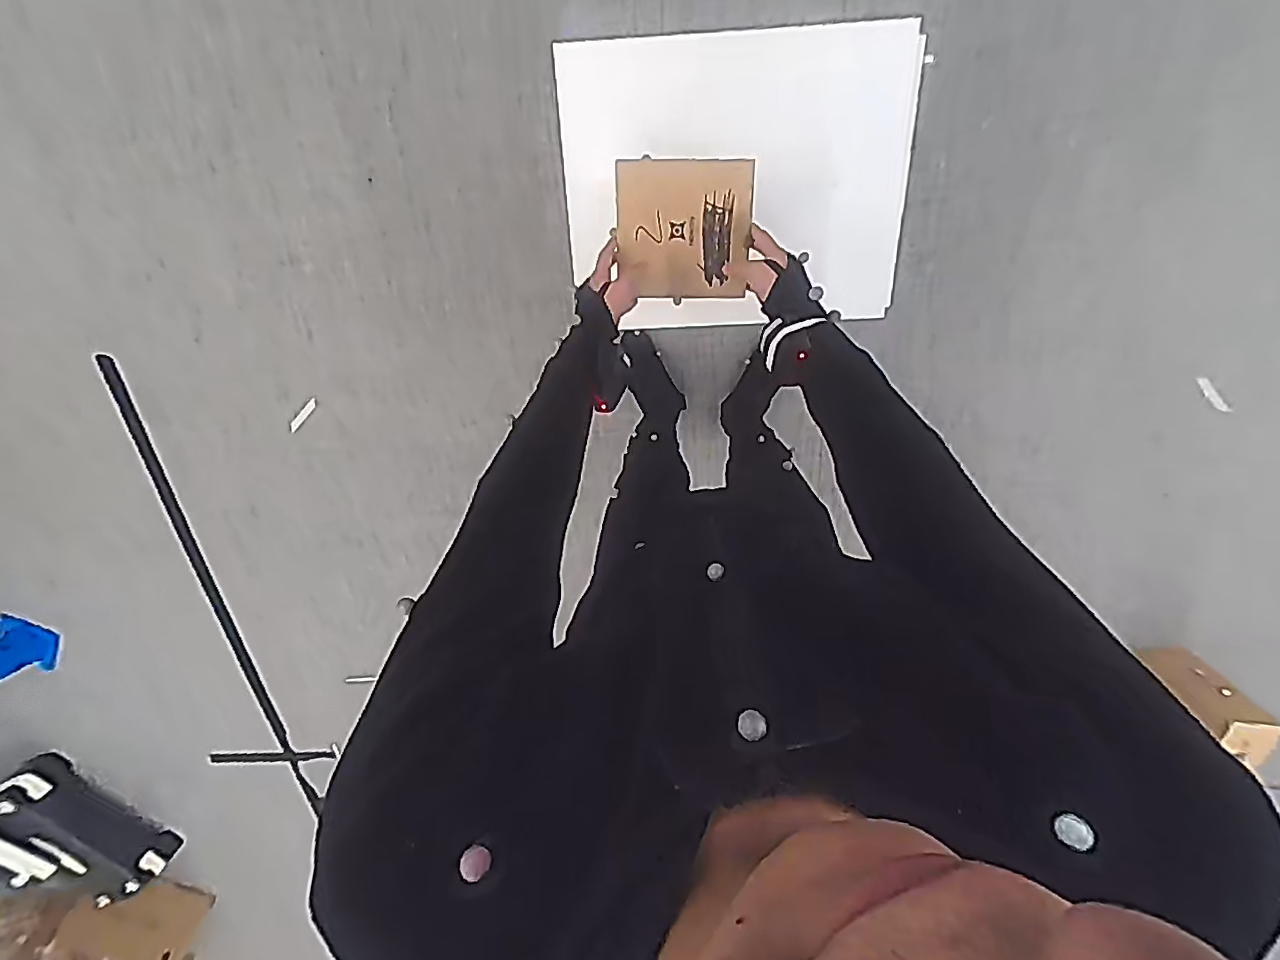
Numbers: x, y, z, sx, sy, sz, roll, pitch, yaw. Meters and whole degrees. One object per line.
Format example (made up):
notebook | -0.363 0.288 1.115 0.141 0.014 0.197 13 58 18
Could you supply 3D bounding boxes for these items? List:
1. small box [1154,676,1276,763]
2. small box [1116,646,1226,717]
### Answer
small box | 1.778 0.744 1.687 0.168 0.176 0.179 5 113 -1
small box | 1.795 0.683 1.840 0.179 0.176 0.168 2 113 1
